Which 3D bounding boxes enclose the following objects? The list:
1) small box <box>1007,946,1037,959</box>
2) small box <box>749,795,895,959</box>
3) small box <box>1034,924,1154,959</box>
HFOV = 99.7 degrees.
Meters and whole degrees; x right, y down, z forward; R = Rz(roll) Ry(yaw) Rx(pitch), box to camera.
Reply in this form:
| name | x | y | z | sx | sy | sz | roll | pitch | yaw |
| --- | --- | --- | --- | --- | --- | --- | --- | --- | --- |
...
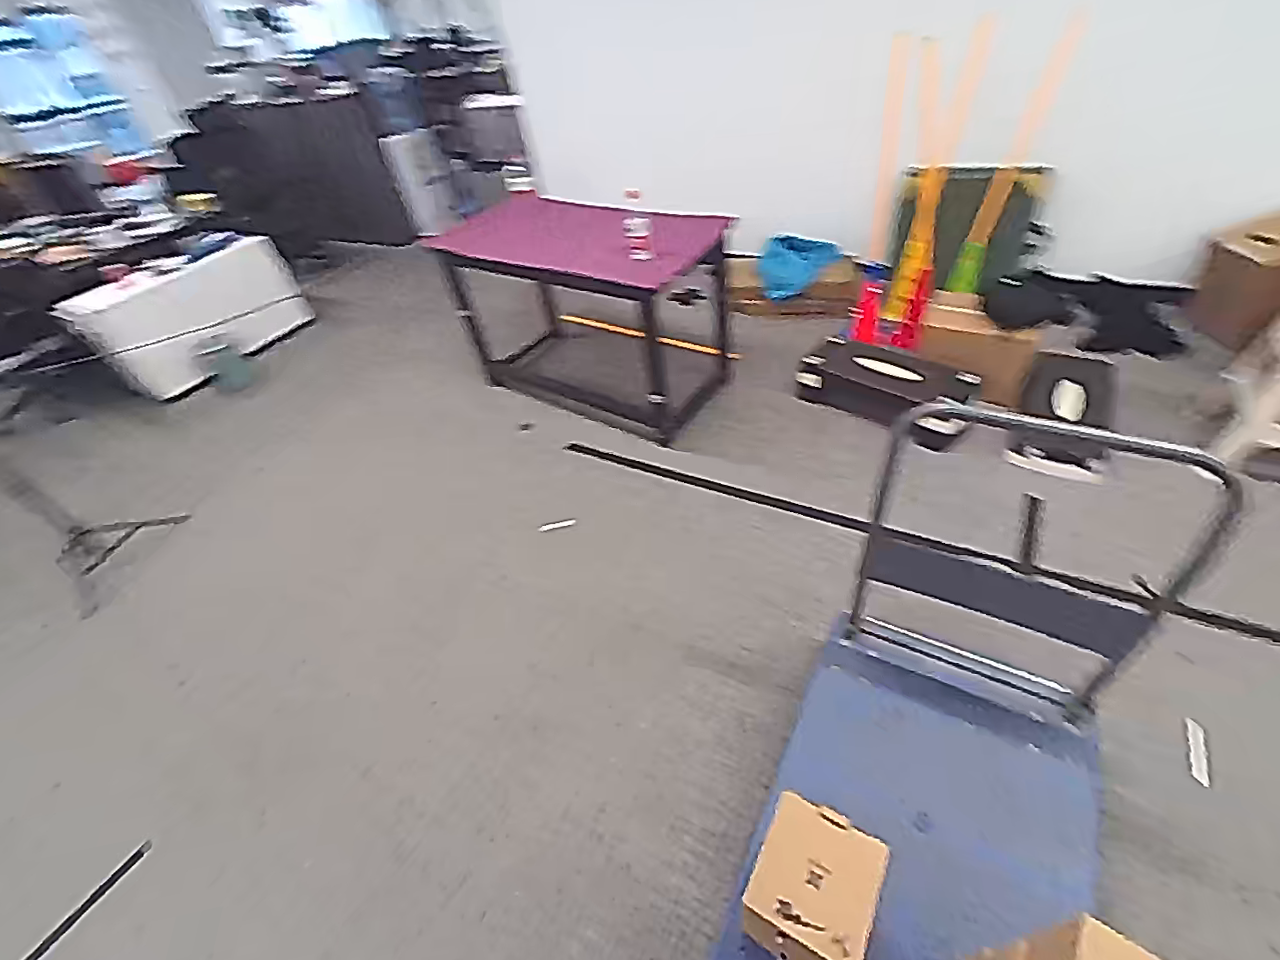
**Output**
| name | x | y | z | sx | sy | sz | roll | pitch | yaw |
| --- | --- | --- | --- | --- | --- | --- | --- | --- | --- |
| small box | 0.546 | 0.754 | 0.685 | 0.179 | 0.176 | 0.168 | 23 | 52 | 29 |
| small box | 0.278 | 0.646 | 0.848 | 0.168 | 0.176 | 0.179 | 19 | 49 | 28 |
| small box | 0.527 | 0.632 | 0.575 | 0.168 | 0.176 | 0.179 | 24 | 52 | 31 |
